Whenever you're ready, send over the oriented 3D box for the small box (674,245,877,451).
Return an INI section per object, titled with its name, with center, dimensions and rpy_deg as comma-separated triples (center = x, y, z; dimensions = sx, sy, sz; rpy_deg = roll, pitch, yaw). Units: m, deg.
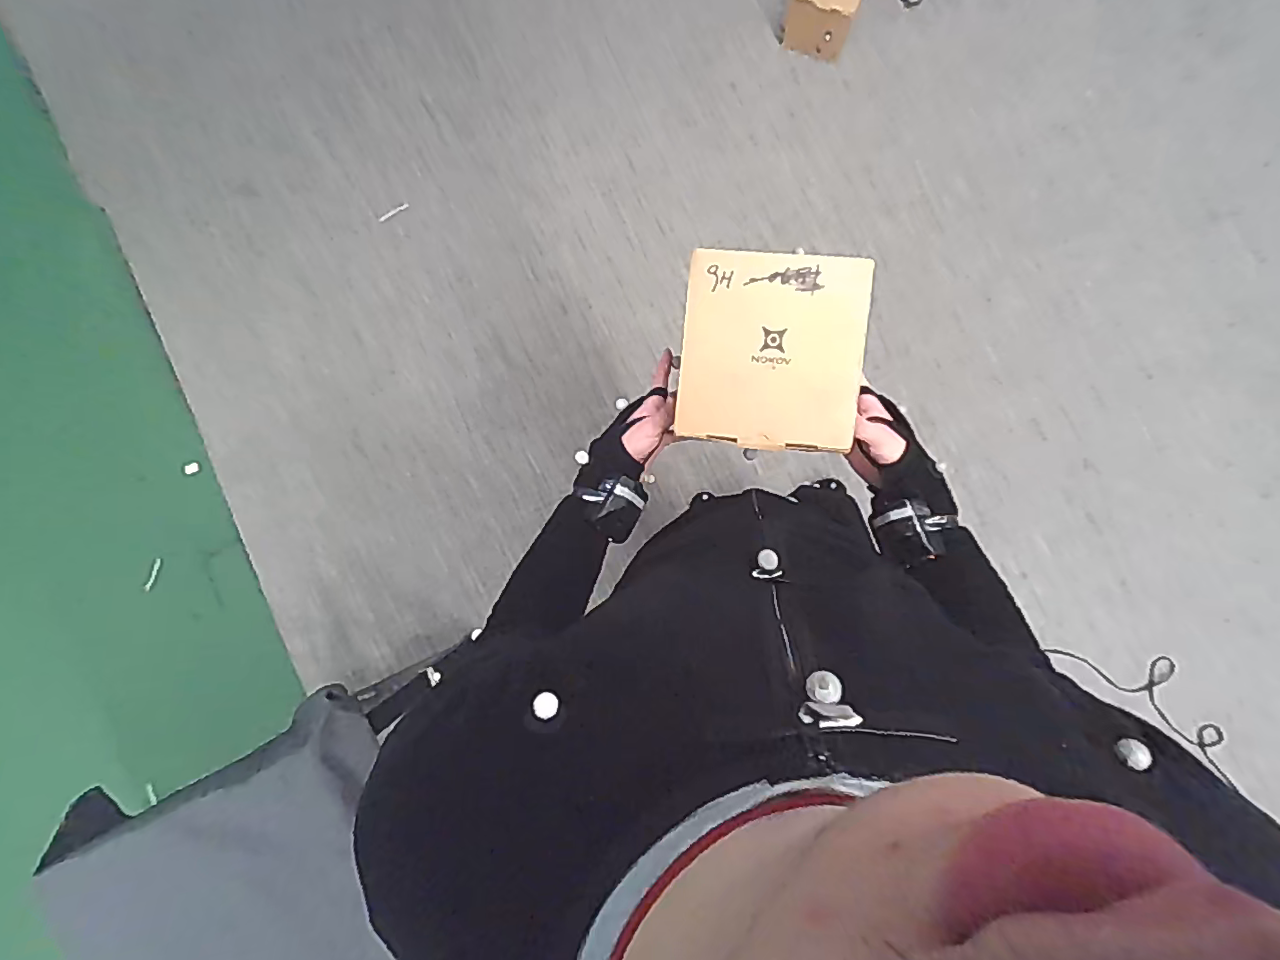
[small box]
center = 0.131, -0.128, 0.575
dimensions = 0.168, 0.176, 0.179
rpy_deg = 7, 95, 5
